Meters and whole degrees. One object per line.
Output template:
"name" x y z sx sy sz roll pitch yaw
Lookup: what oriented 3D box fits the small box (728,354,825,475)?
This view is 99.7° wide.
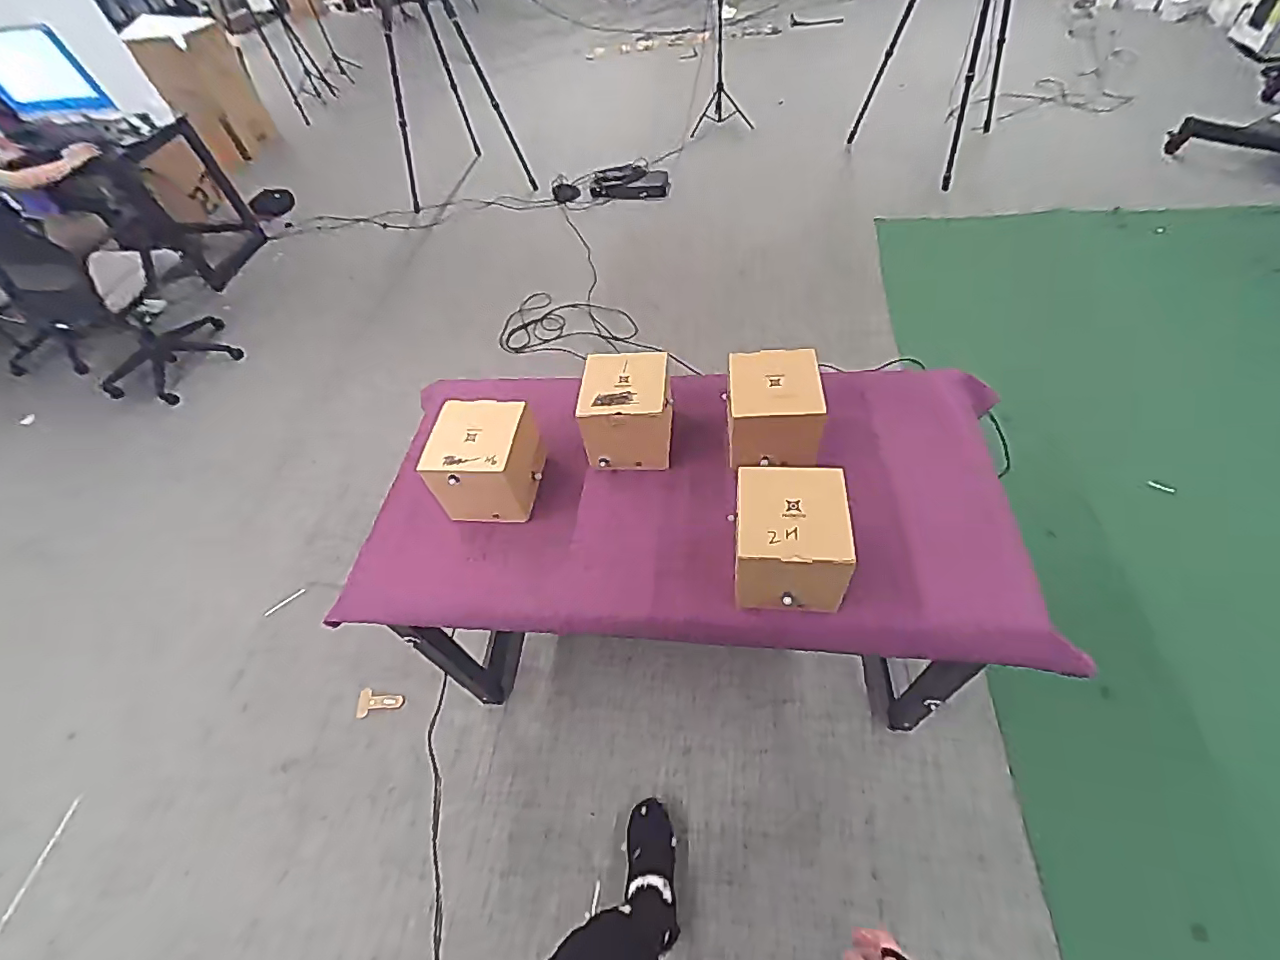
"small box" 0.260 -0.127 1.069 0.168 0.176 0.179 -1 53 8

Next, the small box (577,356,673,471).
"small box" -0.021 -0.133 1.110 0.168 0.176 0.179 0 52 8

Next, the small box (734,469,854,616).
"small box" 0.242 0.103 0.889 0.168 0.176 0.179 2 51 10

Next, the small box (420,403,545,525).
"small box" -0.297 -0.033 1.067 0.168 0.176 0.179 1 52 10
